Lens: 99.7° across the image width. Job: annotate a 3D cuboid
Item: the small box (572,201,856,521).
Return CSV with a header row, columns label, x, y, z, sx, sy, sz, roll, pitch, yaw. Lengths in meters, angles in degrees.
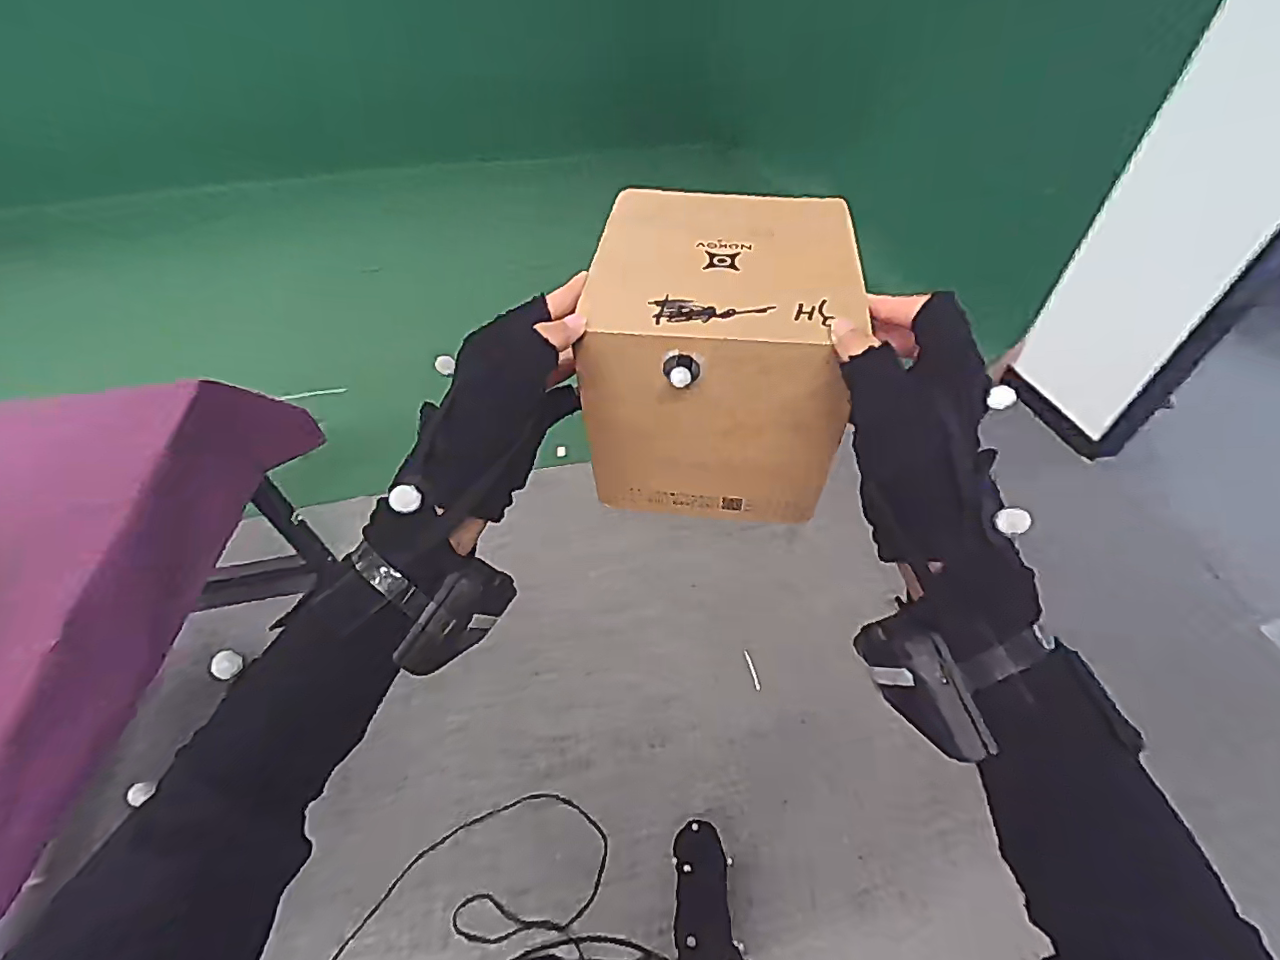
label,x,y,z,sx,sy,sz,roll,pitch,yaw
small box,0.054,-0.093,0.420,0.168,0.176,0.179,5,50,7
